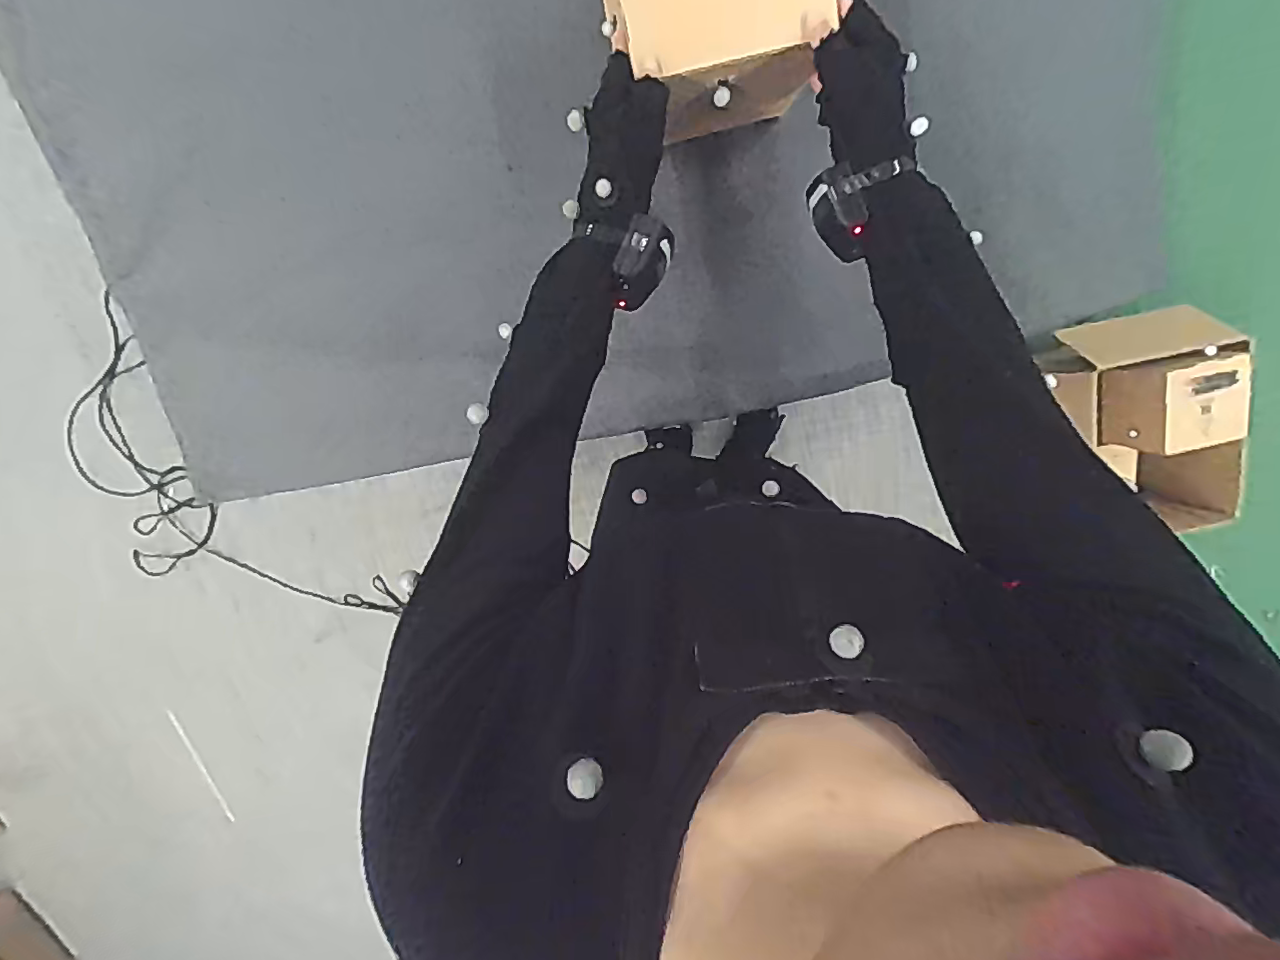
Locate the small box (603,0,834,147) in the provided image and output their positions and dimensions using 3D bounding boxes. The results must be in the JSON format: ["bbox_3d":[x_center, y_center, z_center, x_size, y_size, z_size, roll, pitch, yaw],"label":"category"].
[{"bbox_3d":[0.059,-0.441,0.502,0.179,0.176,0.168,-11,105,3],"label":"small box"}]
